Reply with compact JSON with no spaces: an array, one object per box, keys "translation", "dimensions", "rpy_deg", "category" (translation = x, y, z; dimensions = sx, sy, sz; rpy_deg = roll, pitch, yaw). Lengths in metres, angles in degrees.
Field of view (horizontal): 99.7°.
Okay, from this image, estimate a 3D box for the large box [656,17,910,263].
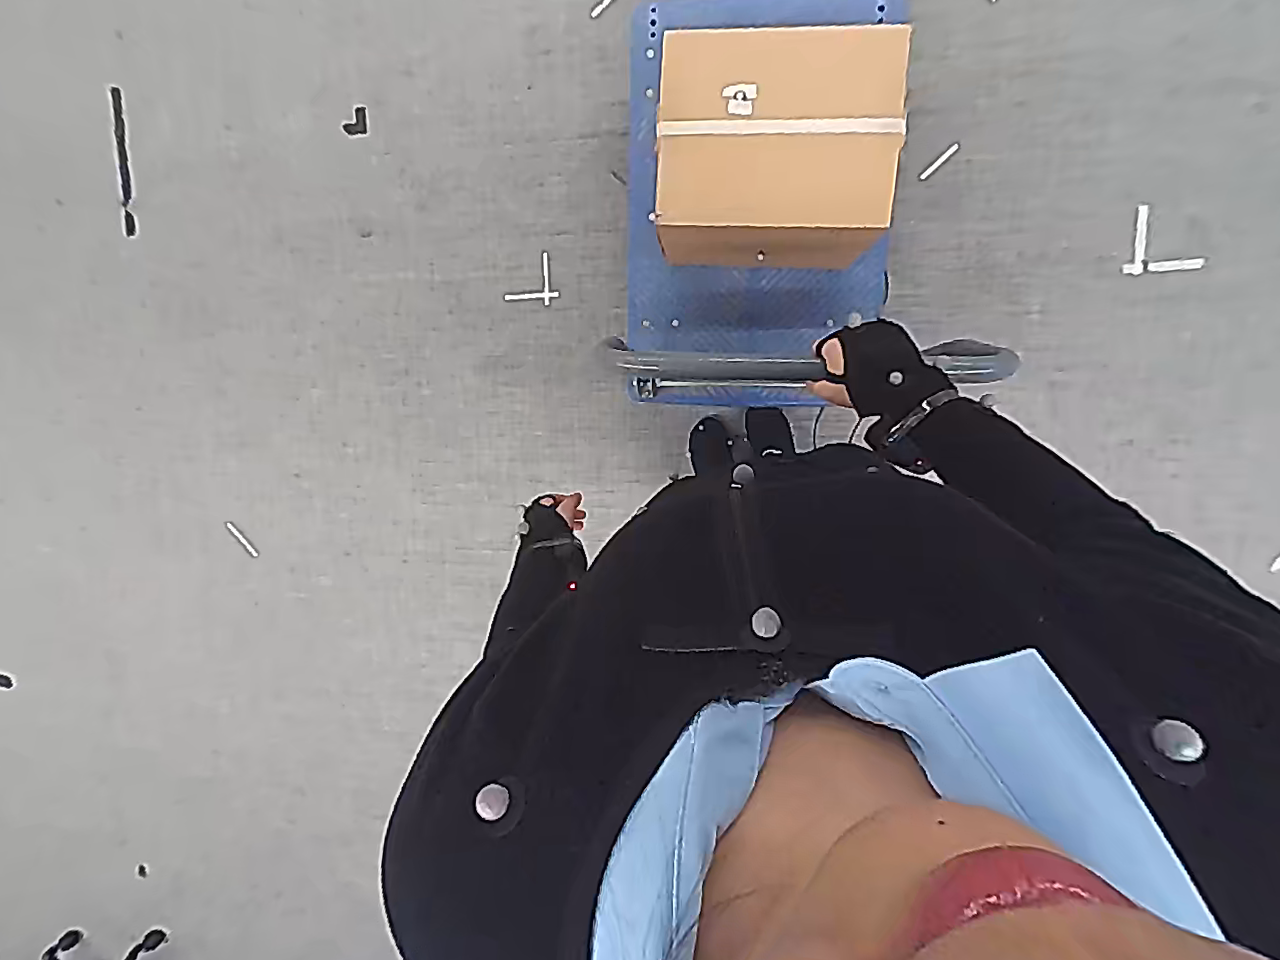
[{"translation":[0.252,-0.616,1.051],"dimensions":[0.408,0.320,0.320],"rpy_deg":[4,98,7],"category":"large box"}]
